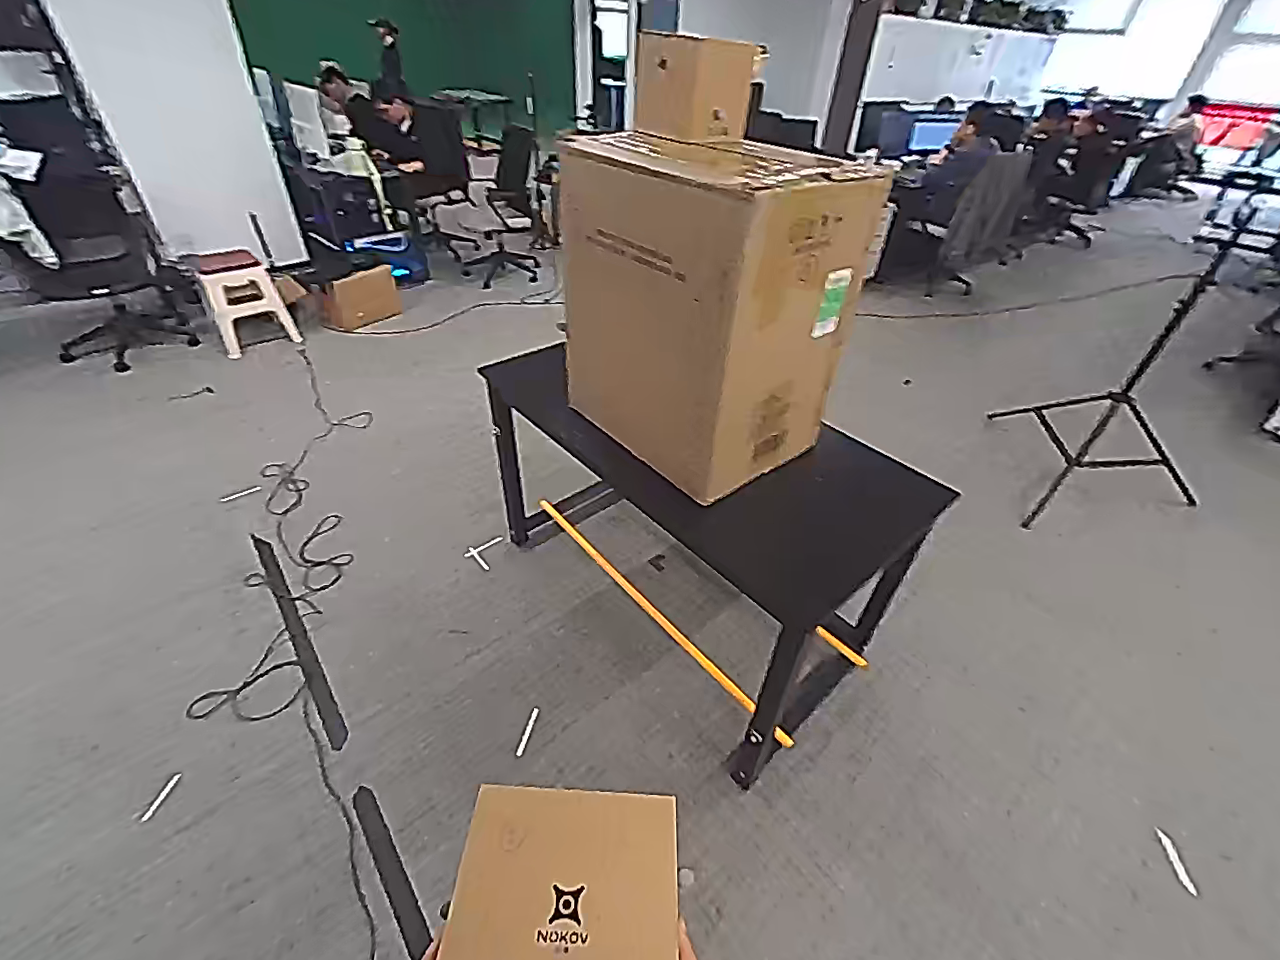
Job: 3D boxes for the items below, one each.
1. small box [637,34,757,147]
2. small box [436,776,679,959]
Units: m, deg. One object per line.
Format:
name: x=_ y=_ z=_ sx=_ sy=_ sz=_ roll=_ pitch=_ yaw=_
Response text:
small box: x=0.108 y=-0.797 z=1.110 sx=0.168 sy=0.176 sz=0.179 roll=-25 pitch=48 yaw=-33
small box: x=-0.059 y=0.371 z=0.436 sx=0.168 sy=0.176 sz=0.179 roll=3 pitch=38 yaw=-1
